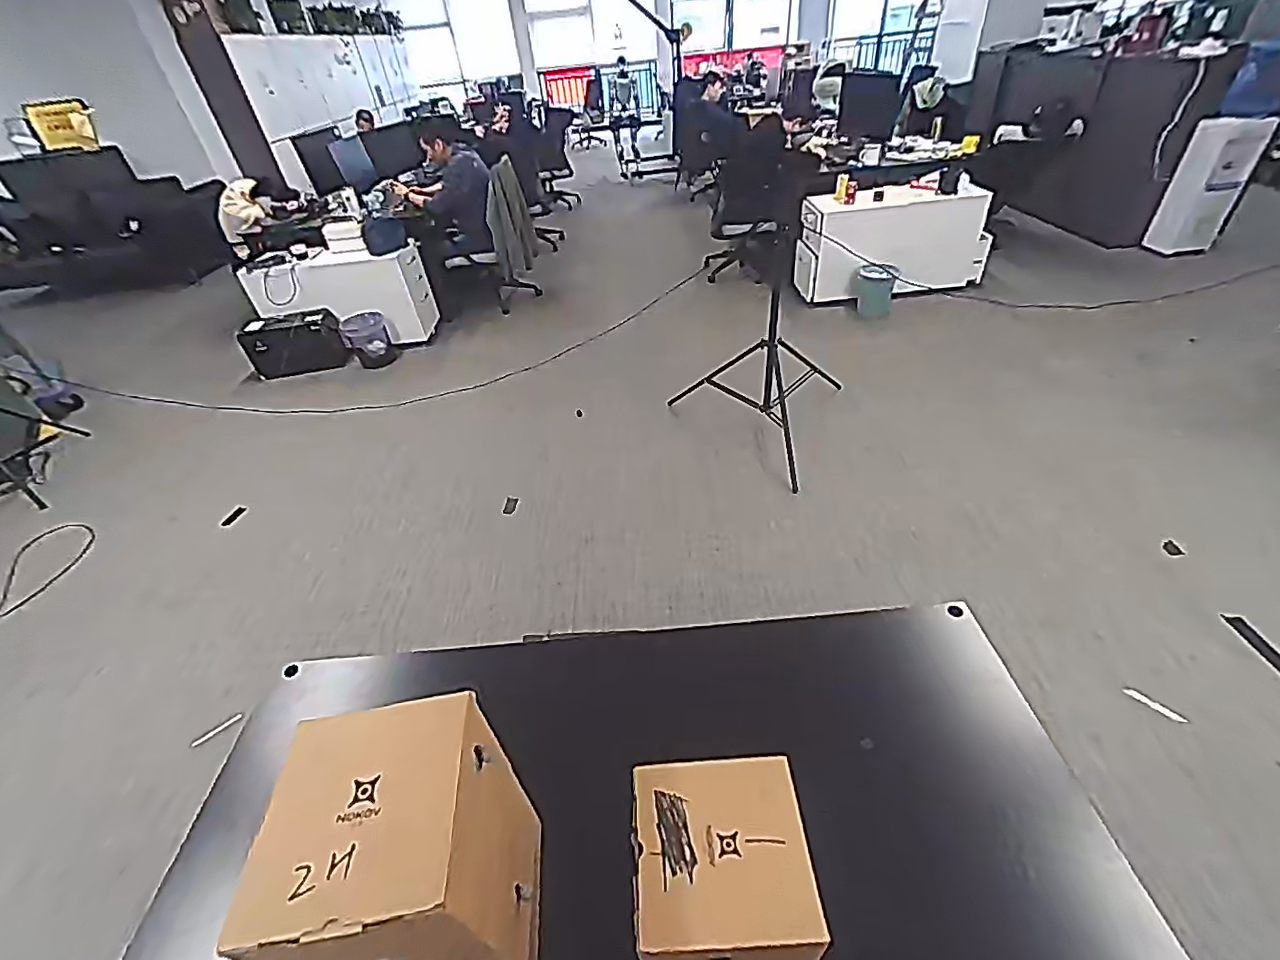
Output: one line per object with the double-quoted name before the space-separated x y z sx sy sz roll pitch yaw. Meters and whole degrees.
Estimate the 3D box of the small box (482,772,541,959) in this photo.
"small box" -0.211 0.466 0.612 0.168 0.176 0.179 -9 39 -2

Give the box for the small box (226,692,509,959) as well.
"small box" -0.226 0.335 0.511 0.168 0.176 0.179 -10 39 -3

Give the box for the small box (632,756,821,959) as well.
"small box" 0.087 0.434 0.605 0.179 0.176 0.168 -5 39 2
